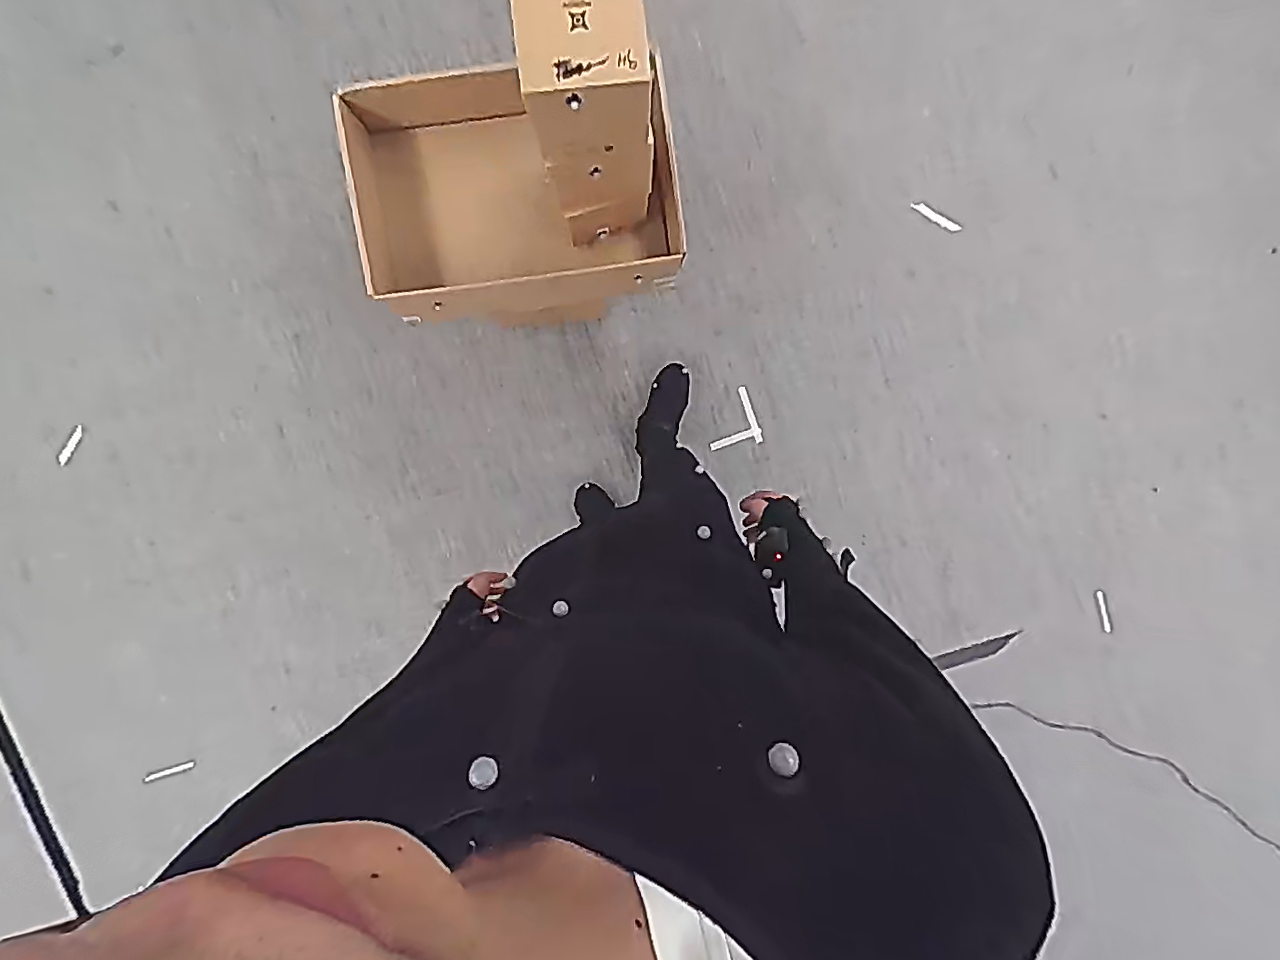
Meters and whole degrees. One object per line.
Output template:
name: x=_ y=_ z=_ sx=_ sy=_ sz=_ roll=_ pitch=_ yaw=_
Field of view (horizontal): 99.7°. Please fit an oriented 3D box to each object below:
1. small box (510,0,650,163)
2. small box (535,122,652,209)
small box: x=-0.077 y=-0.571 z=0.738 sx=0.168 sy=0.176 sz=0.179 roll=-6 pitch=93 yaw=1
small box: x=-0.080 y=-0.578 z=0.902 sx=0.179 sy=0.176 sz=0.168 roll=-12 pitch=94 yaw=0
